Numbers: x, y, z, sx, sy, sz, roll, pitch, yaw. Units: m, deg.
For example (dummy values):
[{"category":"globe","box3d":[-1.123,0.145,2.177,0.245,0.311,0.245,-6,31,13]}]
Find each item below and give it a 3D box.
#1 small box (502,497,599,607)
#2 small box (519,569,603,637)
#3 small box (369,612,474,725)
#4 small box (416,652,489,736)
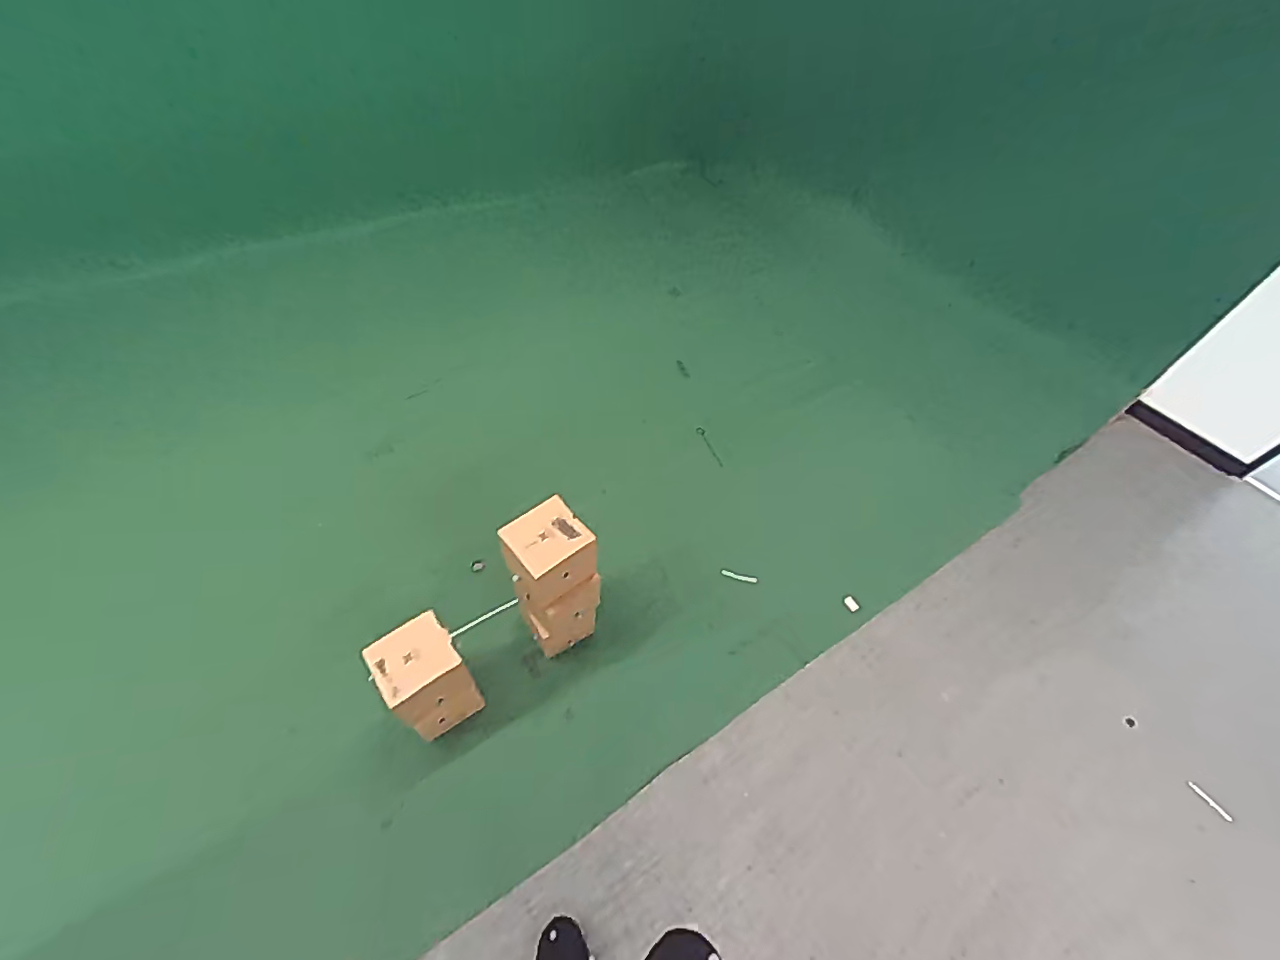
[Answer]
[{"category":"small box","box3d":[-0.220,0.182,1.349,0.179,0.176,0.168,-33,61,-25]},{"category":"small box","box3d":[-0.217,0.293,1.473,0.168,0.176,0.179,-36,63,-26]},{"category":"small box","box3d":[-0.523,0.463,1.322,0.179,0.176,0.168,-30,59,-24]},{"category":"small box","box3d":[-0.527,0.562,1.452,0.168,0.176,0.179,-28,59,-22]}]
